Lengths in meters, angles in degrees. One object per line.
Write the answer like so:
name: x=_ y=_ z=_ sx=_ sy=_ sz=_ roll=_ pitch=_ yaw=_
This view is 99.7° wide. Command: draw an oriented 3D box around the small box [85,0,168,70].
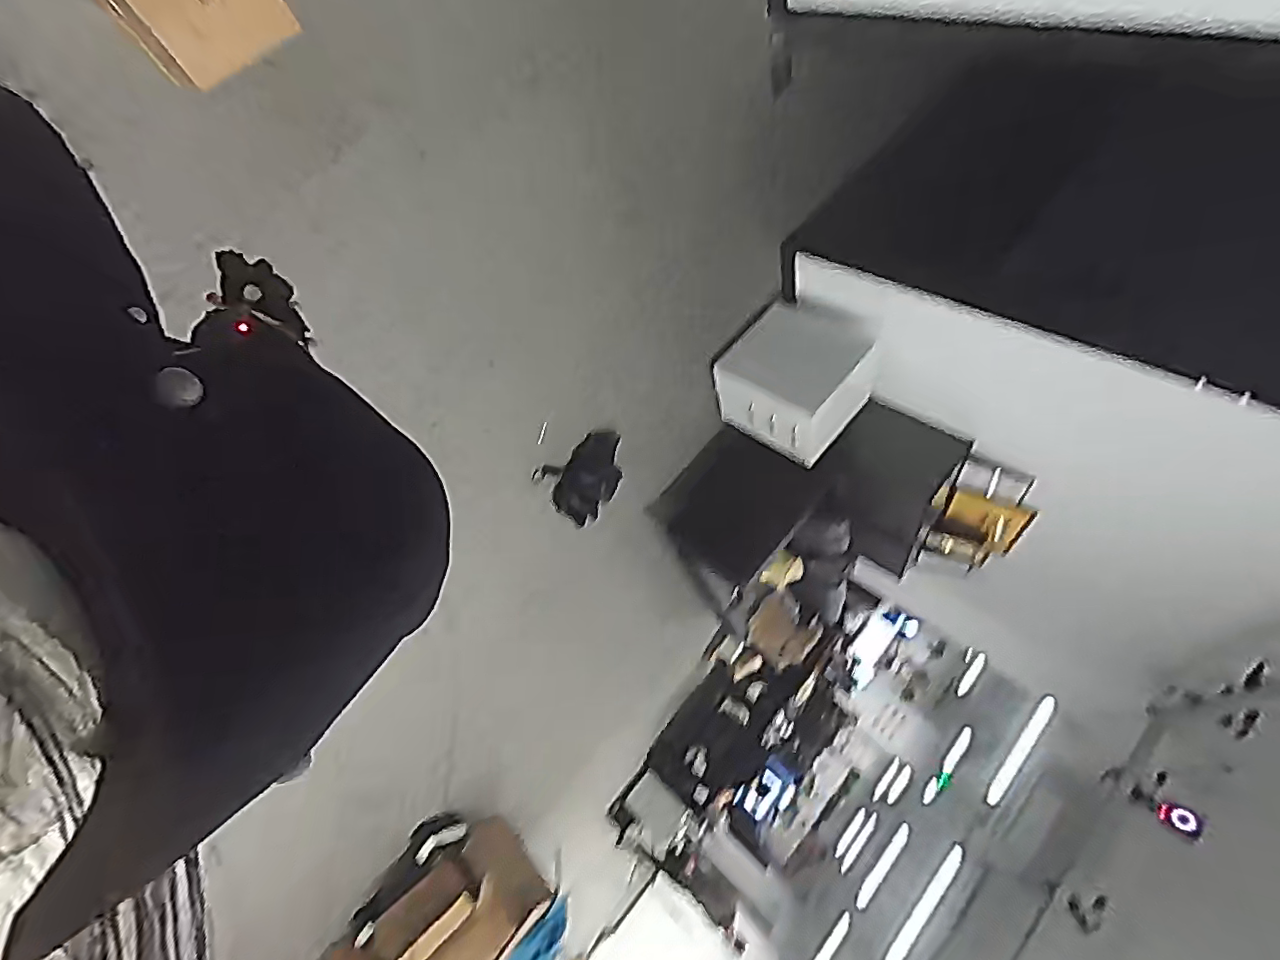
small box: x=-0.763 y=-0.772 z=0.826 sx=0.168 sy=0.176 sz=0.179 roll=-46 pitch=149 yaw=-13

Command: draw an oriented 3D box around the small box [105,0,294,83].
small box: x=-0.632 y=-0.687 z=0.738 sx=0.179 sy=0.176 sz=0.168 roll=-46 pitch=147 yaw=-12
